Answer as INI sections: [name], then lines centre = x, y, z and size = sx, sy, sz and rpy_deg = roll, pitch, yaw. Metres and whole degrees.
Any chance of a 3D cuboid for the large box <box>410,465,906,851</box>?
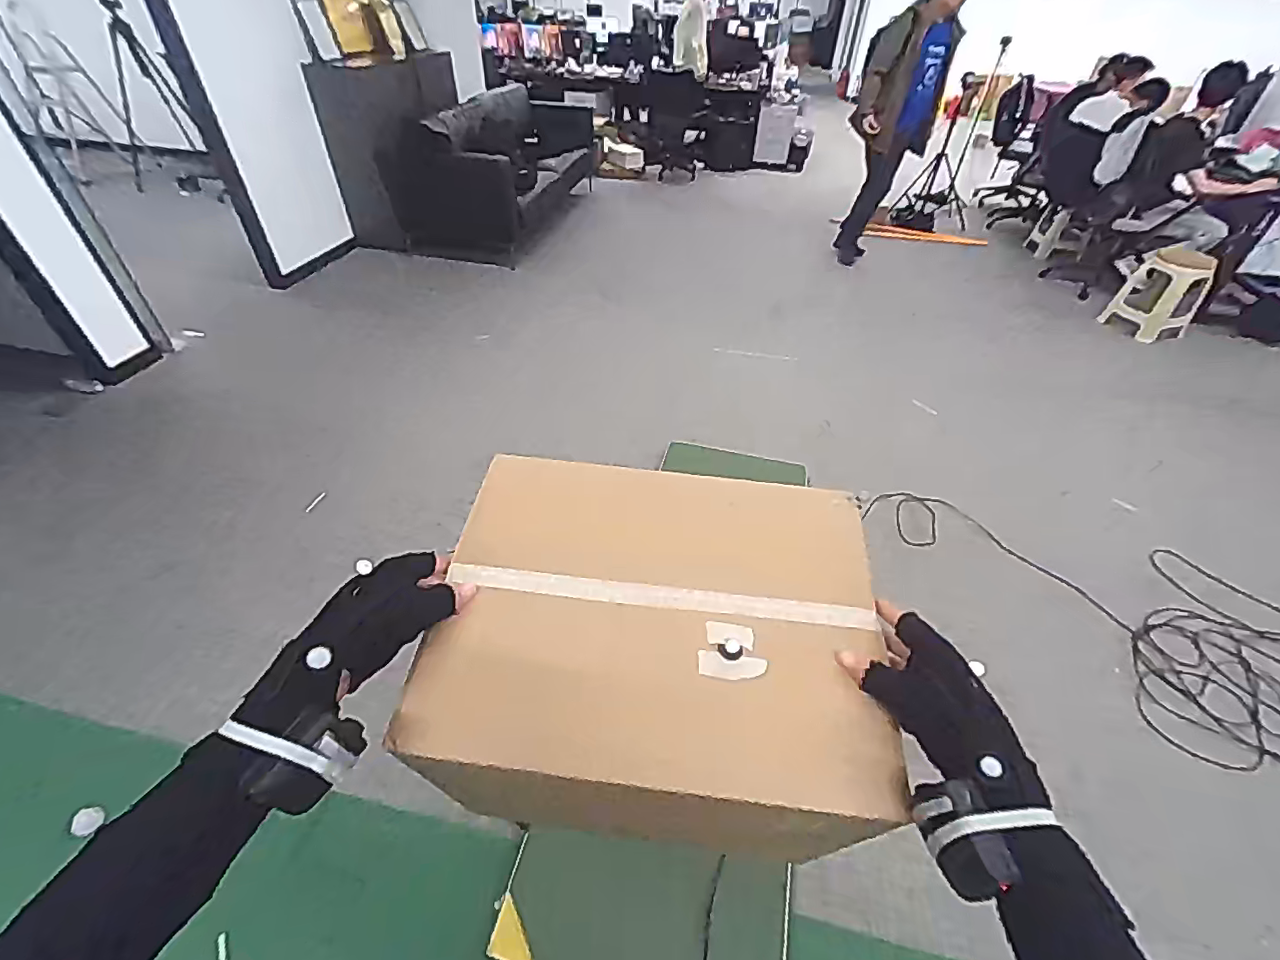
[large box]
centre = 0.018, 0.212, 0.632
size = 0.408, 0.320, 0.320
rpy_deg = 6, 51, 2
